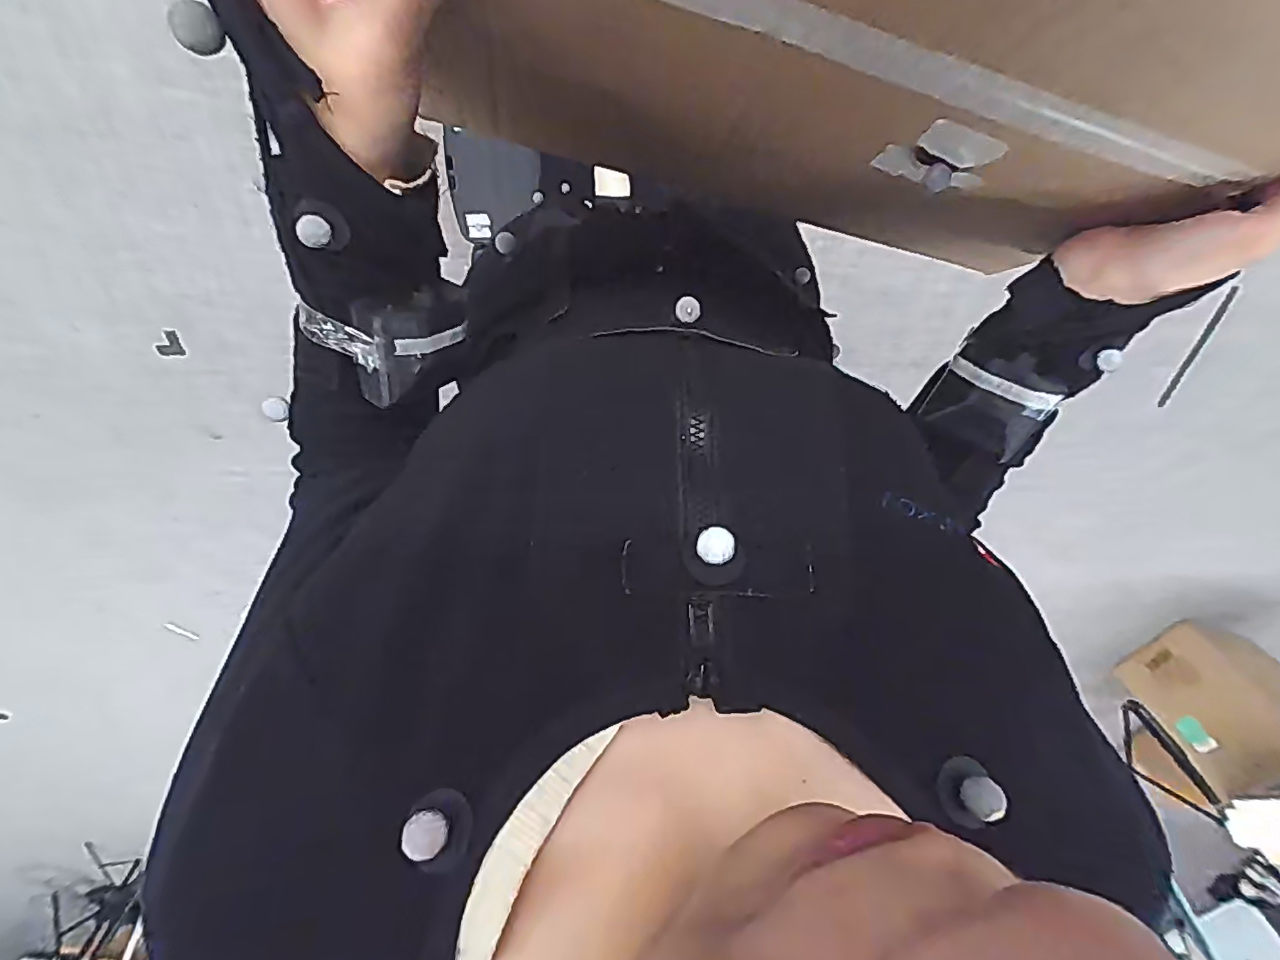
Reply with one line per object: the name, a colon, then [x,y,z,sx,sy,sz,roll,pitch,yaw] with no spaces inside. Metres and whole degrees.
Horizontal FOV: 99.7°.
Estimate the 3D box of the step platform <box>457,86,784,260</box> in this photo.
step platform: [-0.036,-0.674,1.167,0.684,0.204,0.286,4,126,-9]
